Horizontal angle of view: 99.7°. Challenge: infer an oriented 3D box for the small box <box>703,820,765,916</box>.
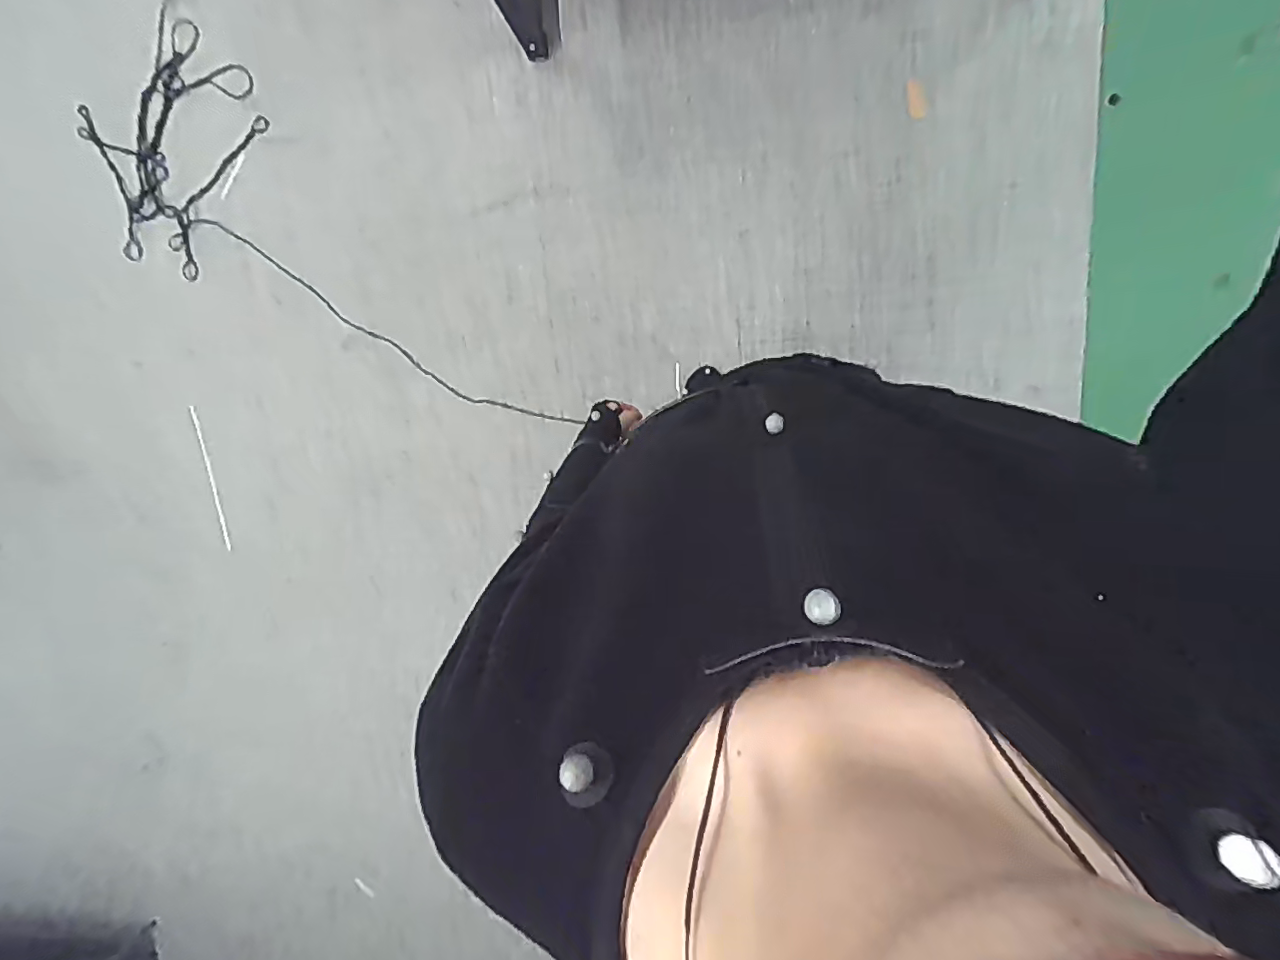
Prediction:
[{"bbox_3d":[0.282,1.167,1.638,0.179,0.176,0.168,0,100,8],"label":"small box"}]
